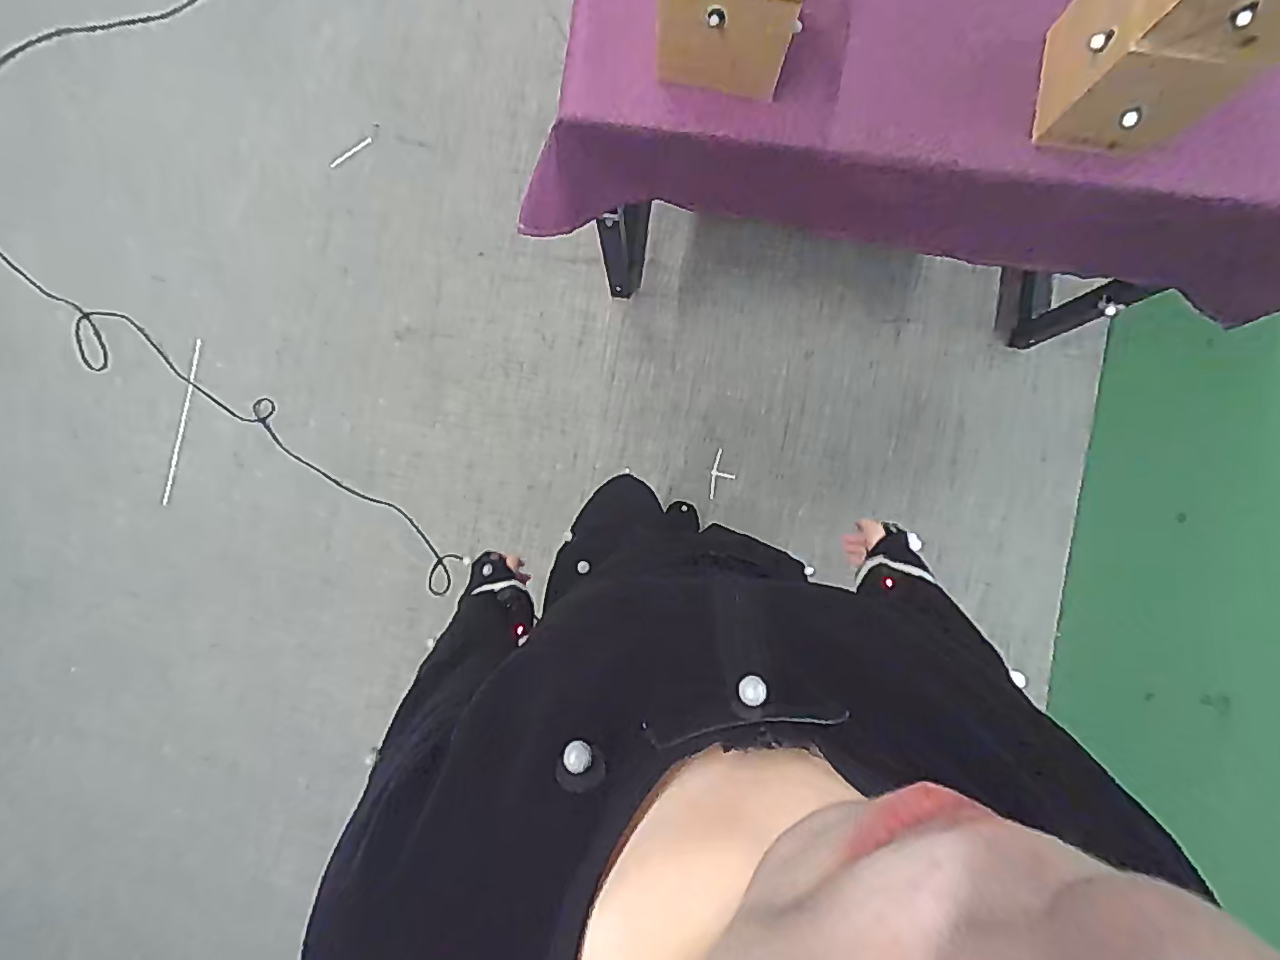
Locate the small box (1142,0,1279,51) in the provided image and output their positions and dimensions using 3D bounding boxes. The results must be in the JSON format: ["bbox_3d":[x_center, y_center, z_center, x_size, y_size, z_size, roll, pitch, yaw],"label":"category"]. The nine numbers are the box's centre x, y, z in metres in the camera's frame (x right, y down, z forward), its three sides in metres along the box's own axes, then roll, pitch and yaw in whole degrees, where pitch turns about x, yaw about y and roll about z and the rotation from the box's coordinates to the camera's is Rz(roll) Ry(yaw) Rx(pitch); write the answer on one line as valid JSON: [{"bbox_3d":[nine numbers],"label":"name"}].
[{"bbox_3d":[0.665,-0.590,0.544,0.168,0.176,0.179,9,89,2],"label":"small box"}]

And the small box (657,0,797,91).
[{"bbox_3d":[0.122,-0.665,0.722,0.179,0.176,0.168,12,88,1],"label":"small box"}]

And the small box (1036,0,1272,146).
[{"bbox_3d":[0.662,-0.577,0.707,0.168,0.176,0.179,9,88,1],"label":"small box"}]
